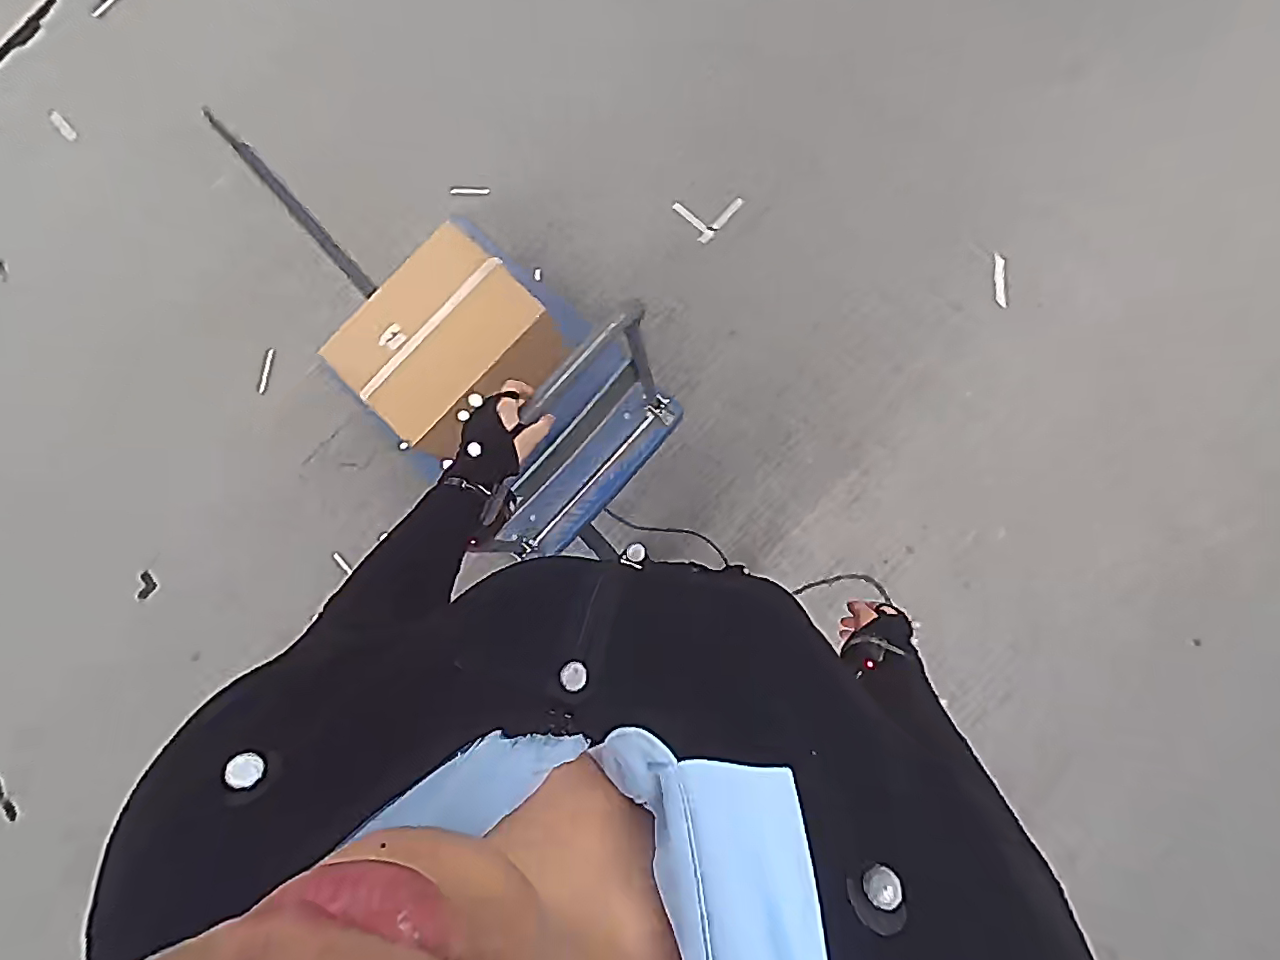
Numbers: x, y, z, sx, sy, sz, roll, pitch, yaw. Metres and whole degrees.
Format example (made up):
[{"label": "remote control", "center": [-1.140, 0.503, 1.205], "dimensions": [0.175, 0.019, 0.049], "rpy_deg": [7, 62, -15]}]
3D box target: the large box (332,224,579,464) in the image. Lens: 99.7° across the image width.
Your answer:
[{"label": "large box", "center": [-0.412, -0.299, 1.299], "dimensions": [0.320, 0.320, 0.408], "rpy_deg": [44, 90, 10]}]
